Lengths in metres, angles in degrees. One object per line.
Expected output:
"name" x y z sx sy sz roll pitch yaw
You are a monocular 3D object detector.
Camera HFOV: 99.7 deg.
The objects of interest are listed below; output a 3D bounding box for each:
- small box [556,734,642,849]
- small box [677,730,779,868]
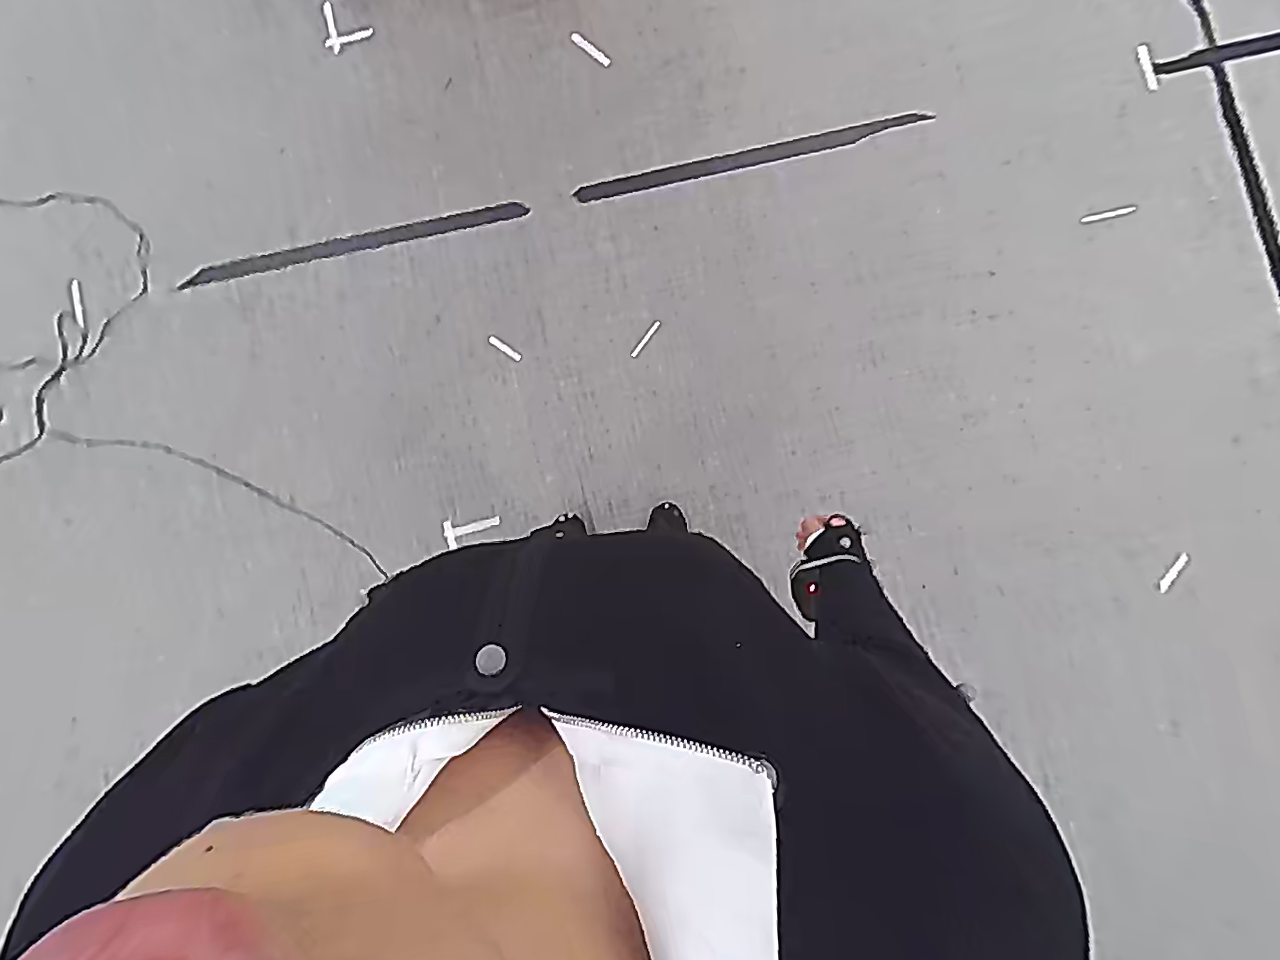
"small box" -0.093 0.731 1.293 0.168 0.176 0.179 -13 87 1
"small box" 0.177 0.655 1.128 0.168 0.176 0.179 -13 88 0
